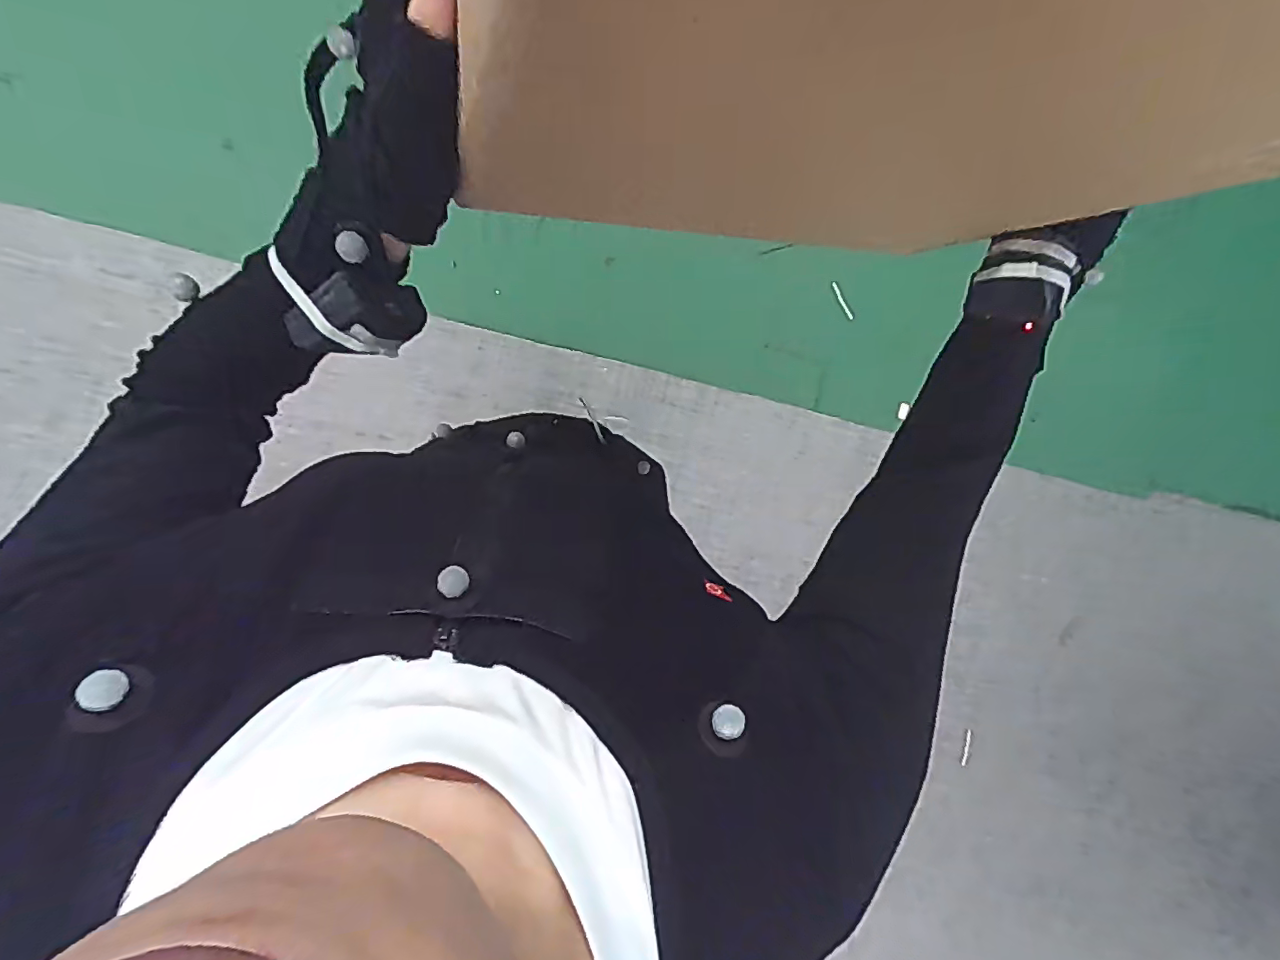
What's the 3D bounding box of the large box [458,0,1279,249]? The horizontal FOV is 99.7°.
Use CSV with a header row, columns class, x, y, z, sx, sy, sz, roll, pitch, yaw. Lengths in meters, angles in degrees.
class,x,y,z,sx,sy,sz,roll,pitch,yaw
large box,0.128,-0.314,0.259,0.408,0.320,0.320,-5,104,-23
